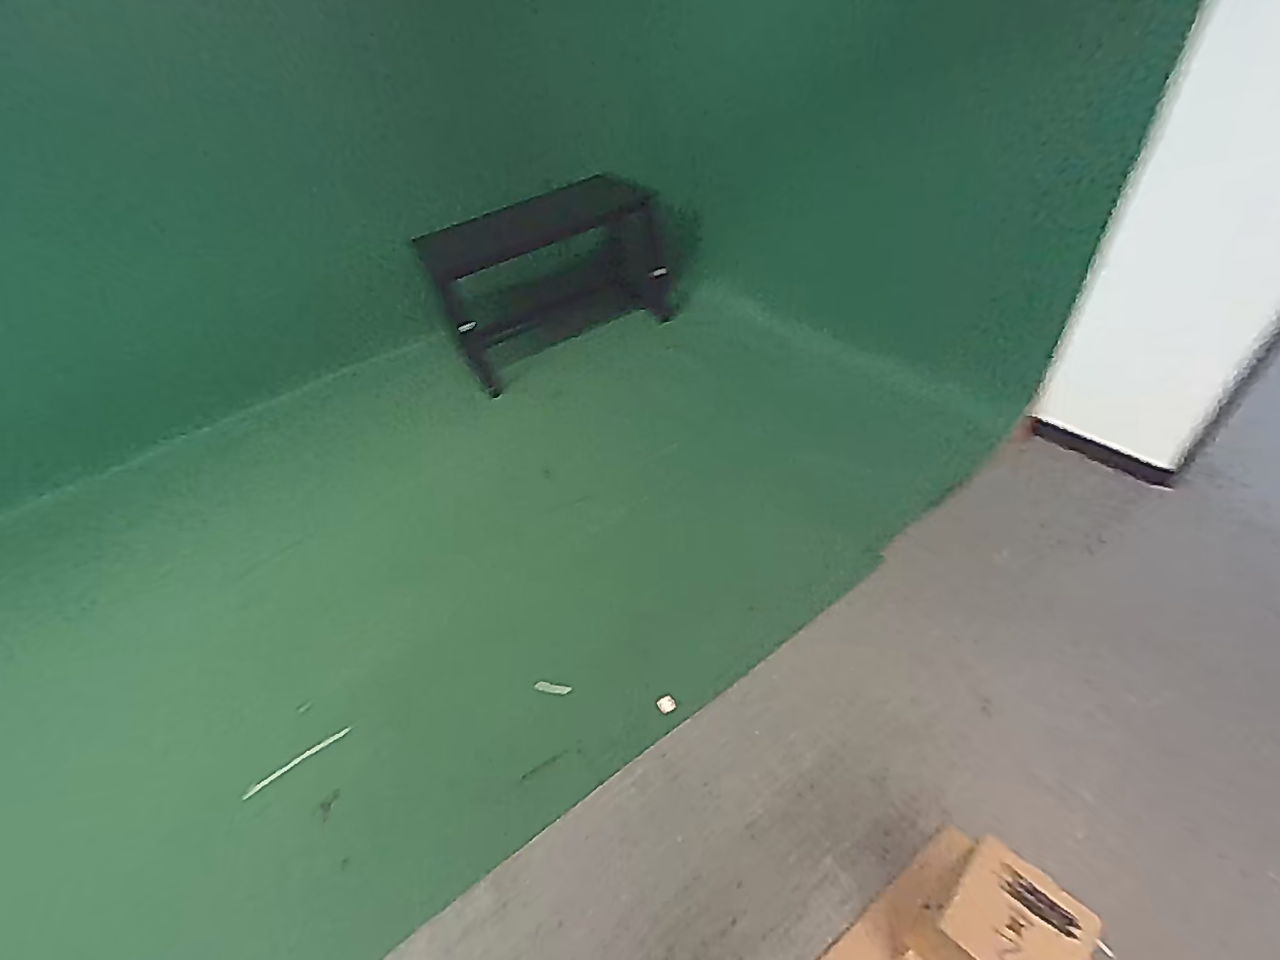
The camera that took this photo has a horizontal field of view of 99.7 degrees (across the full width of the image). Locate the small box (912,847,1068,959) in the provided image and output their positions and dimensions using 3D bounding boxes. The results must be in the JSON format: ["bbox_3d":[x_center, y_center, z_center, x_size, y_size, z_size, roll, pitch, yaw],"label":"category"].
[{"bbox_3d":[0.624,0.827,0.987,0.179,0.176,0.168,-35,49,-22],"label":"small box"}]

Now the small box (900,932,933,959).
[{"bbox_3d":[0.649,0.960,1.084,0.179,0.176,0.168,-36,48,-23],"label":"small box"}]
